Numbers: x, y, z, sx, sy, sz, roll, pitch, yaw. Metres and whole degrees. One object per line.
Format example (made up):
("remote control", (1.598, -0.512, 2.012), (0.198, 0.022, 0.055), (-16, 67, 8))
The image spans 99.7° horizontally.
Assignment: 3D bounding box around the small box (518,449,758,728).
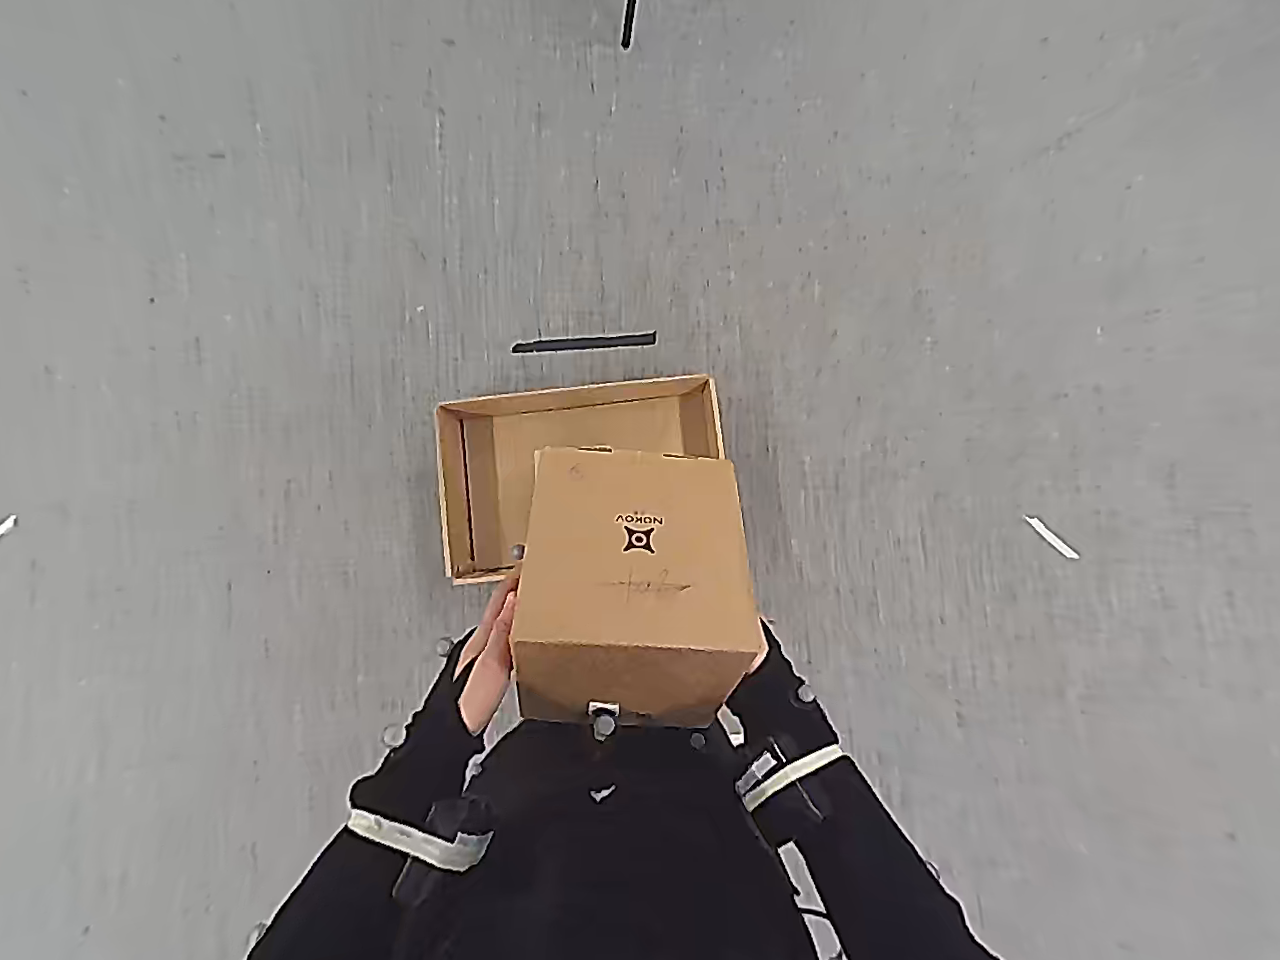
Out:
("small box", (-0.011, 0.097, 0.474), (0.168, 0.176, 0.179), (3, 48, -6))
